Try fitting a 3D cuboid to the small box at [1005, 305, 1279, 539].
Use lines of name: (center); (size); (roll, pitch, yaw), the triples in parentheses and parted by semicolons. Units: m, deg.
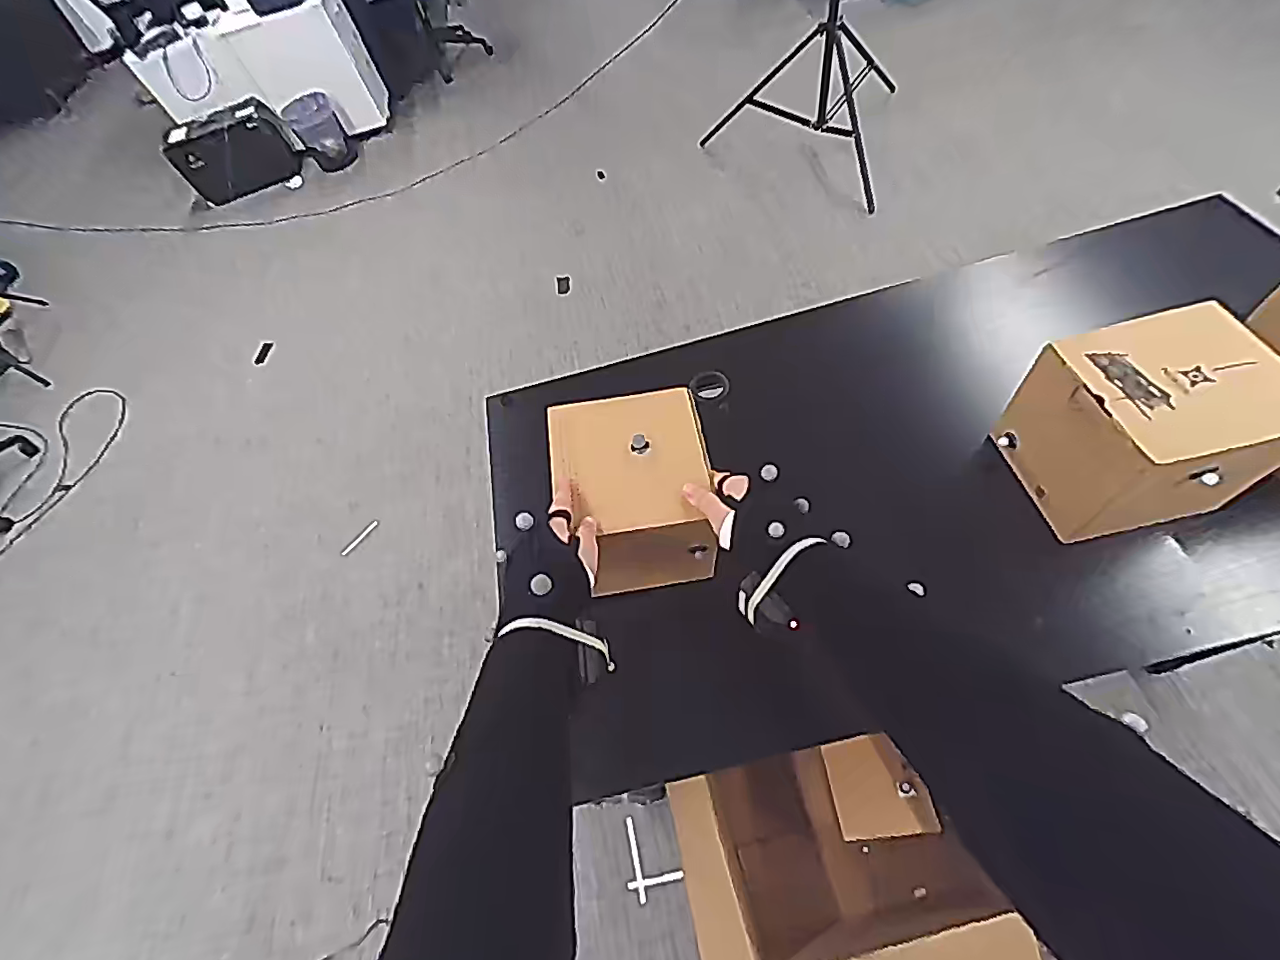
small box: (0.536, -0.053, 0.585); (0.179, 0.176, 0.168); (-13, 58, 3)
